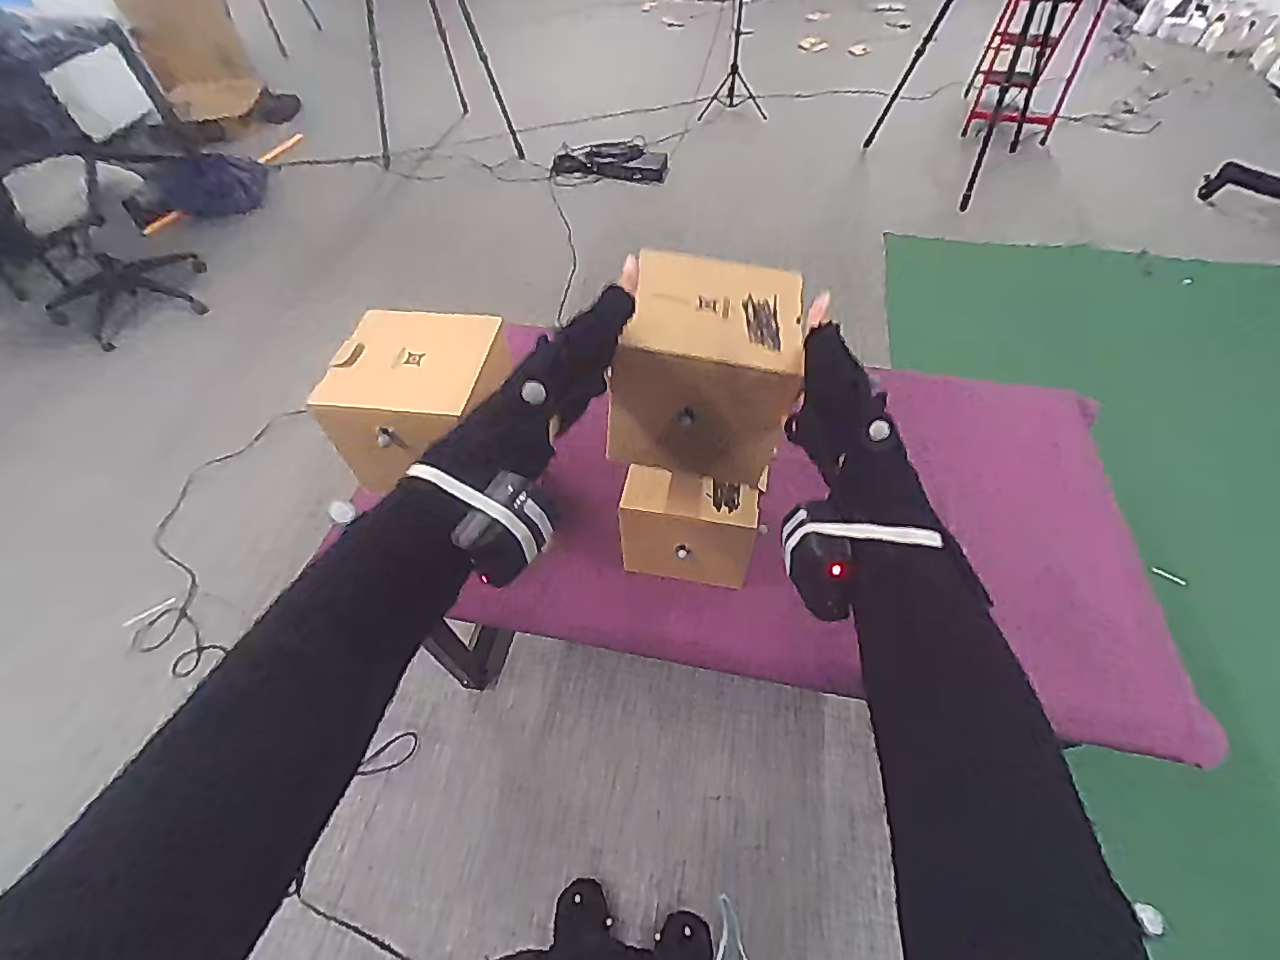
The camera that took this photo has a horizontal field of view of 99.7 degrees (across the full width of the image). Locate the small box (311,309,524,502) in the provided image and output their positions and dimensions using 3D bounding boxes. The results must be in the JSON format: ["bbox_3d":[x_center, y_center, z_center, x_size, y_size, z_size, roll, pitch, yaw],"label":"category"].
[{"bbox_3d":[-0.256,-0.088,0.681,0.179,0.176,0.168,6,54,4],"label":"small box"}]

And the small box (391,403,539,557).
[{"bbox_3d":[-0.257,-0.006,0.822,0.168,0.176,0.179,6,54,4],"label":"small box"}]

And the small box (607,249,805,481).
[{"bbox_3d":[0.067,-0.118,0.591,0.179,0.176,0.168,11,53,2],"label":"small box"}]
